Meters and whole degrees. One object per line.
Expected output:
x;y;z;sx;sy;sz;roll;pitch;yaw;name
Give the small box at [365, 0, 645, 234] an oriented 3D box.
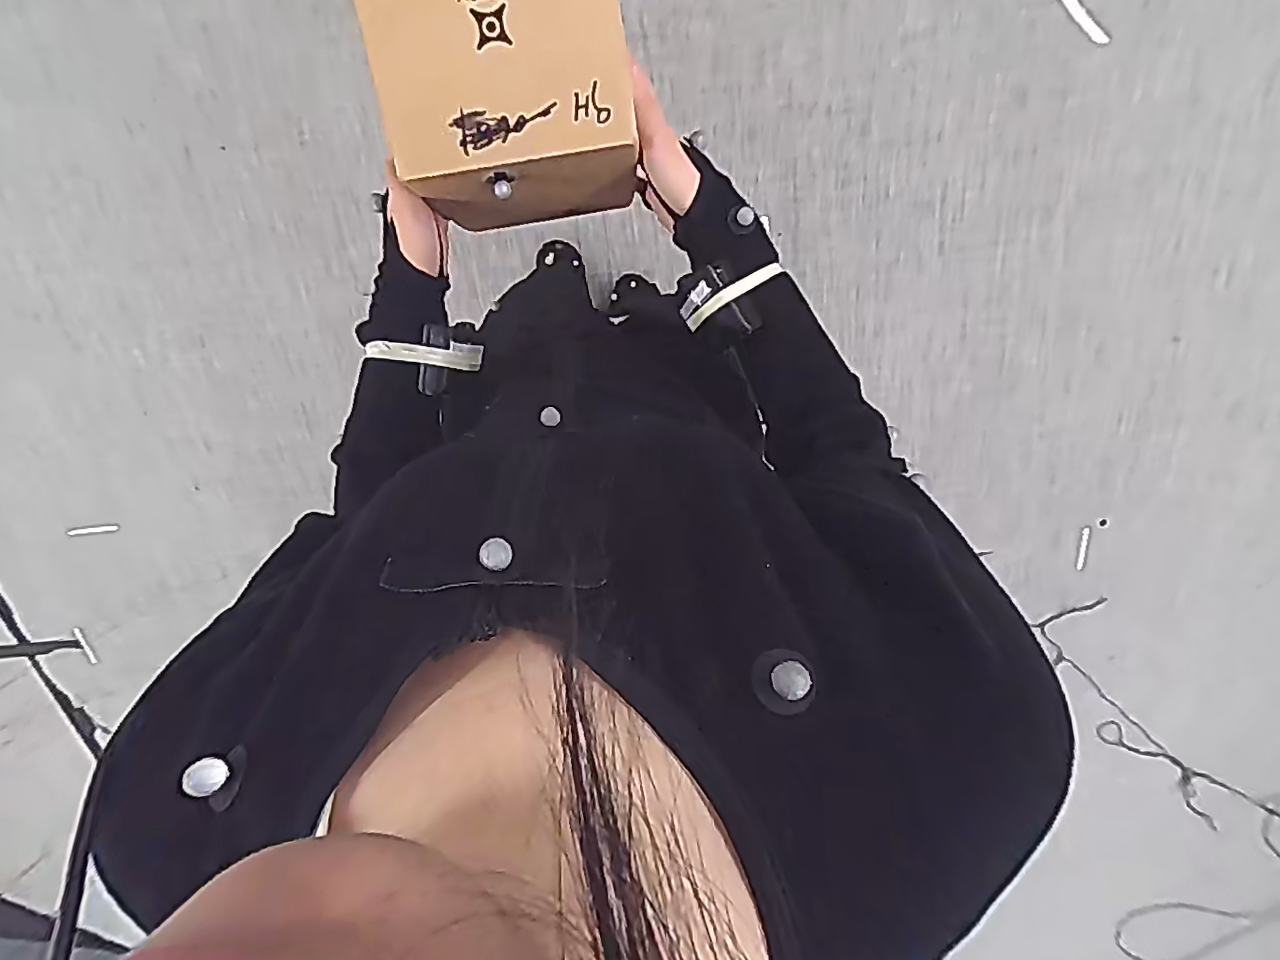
-0.093;-0.311;0.420;0.168;0.176;0.179;-9;103;0;small box
